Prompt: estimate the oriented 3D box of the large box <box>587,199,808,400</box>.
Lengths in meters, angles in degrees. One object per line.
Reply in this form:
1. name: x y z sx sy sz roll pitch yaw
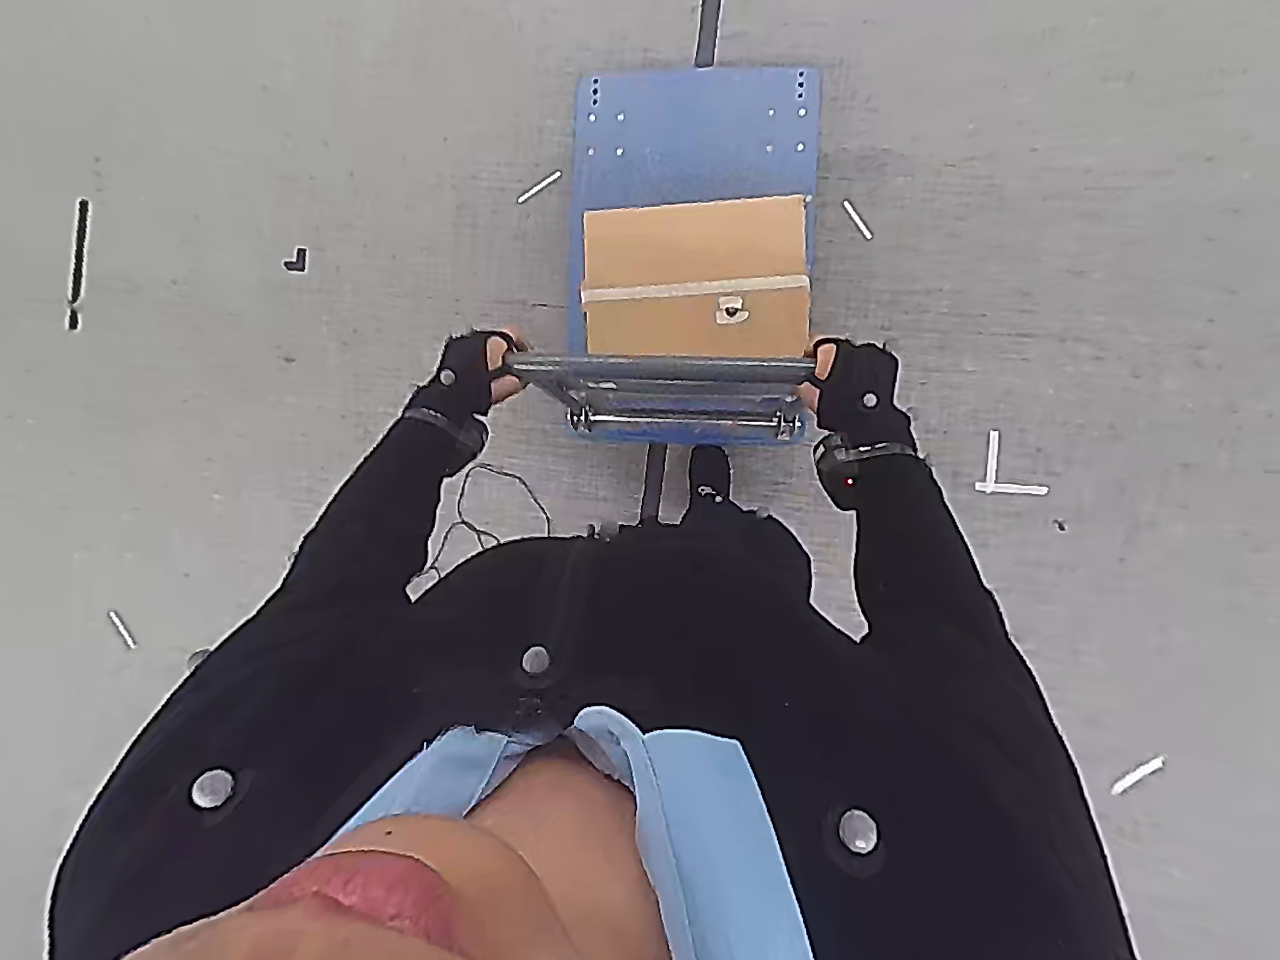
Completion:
1. large box: 0.114 -0.351 1.146 0.408 0.320 0.320 -1 92 5
